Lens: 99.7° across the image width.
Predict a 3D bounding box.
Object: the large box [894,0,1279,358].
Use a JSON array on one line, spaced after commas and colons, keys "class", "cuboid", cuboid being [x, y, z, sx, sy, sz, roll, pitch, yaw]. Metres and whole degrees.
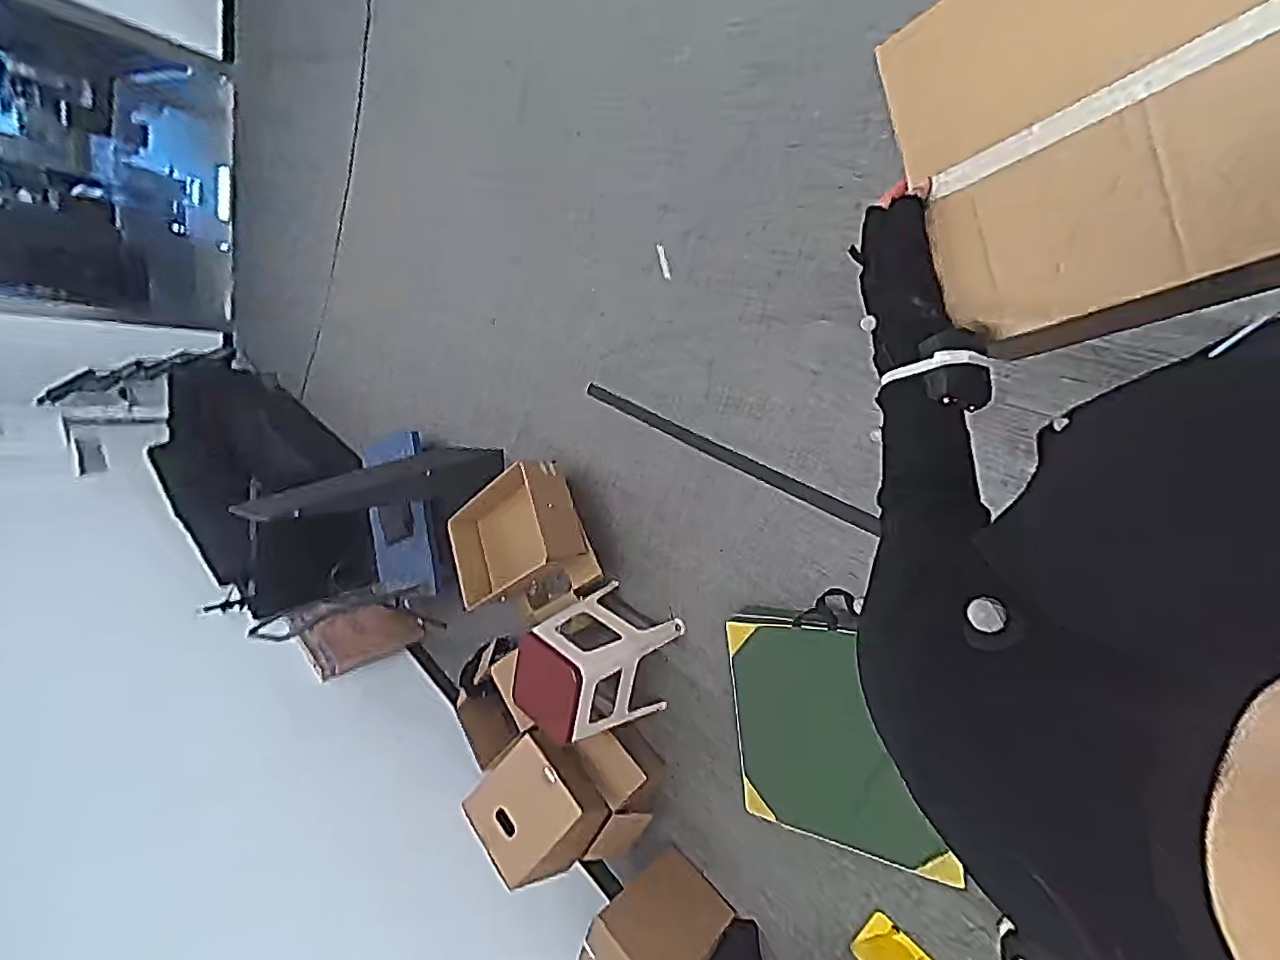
[{"class": "large box", "cuboid": [0.523, -0.332, 0.512, 0.408, 0.320, 0.320, -13, 89, 42]}]
